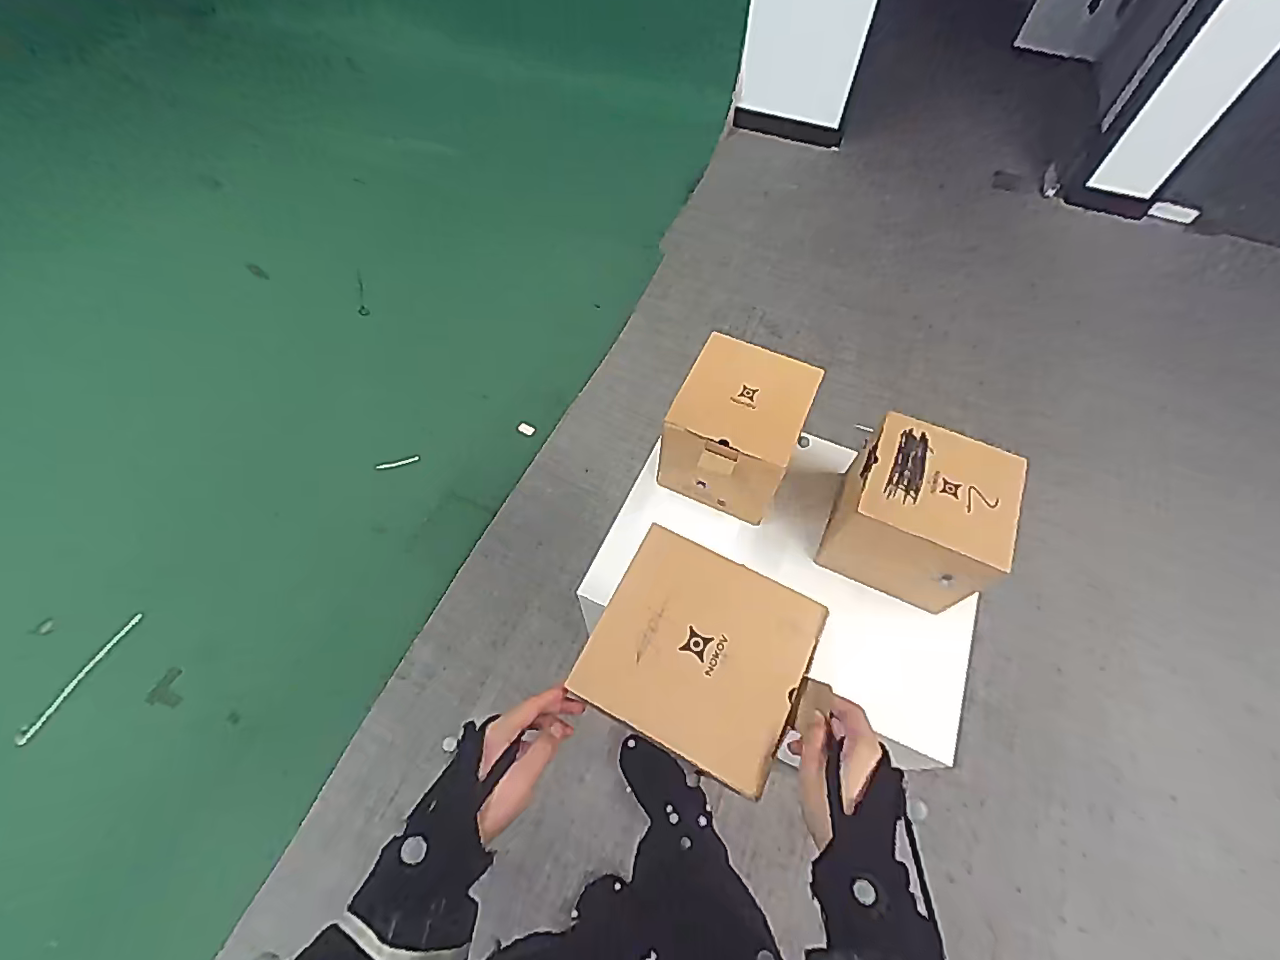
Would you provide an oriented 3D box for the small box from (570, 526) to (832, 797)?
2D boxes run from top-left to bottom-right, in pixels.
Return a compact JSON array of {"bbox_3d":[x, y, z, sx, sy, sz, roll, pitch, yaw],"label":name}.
[{"bbox_3d":[0.056,0.177,0.526,0.179,0.176,0.168,24,64,13],"label":"small box"}]

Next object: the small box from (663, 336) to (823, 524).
[{"bbox_3d":[0.138,-0.068,0.779,0.168,0.176,0.179,23,63,11],"label":"small box"}]
